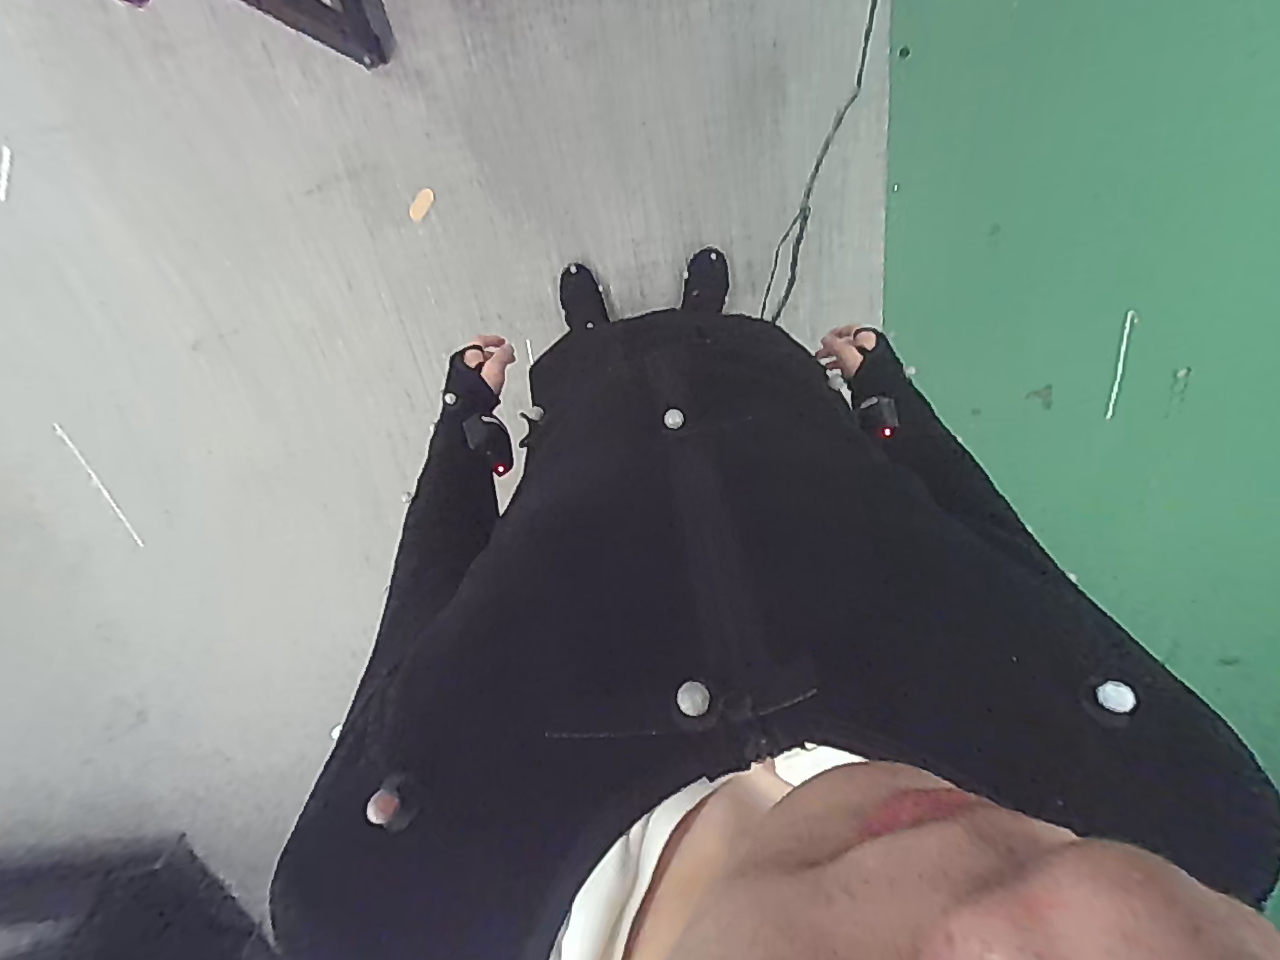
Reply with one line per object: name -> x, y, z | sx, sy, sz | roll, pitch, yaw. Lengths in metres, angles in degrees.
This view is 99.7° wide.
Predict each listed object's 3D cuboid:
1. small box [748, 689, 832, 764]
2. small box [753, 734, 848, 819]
small box -> 0.446, 0.780, 1.642 | 0.179, 0.176, 0.168 | -41, 108, 18
small box -> 0.436, 0.845, 1.494 | 0.168, 0.176, 0.179 | -40, 107, 17
